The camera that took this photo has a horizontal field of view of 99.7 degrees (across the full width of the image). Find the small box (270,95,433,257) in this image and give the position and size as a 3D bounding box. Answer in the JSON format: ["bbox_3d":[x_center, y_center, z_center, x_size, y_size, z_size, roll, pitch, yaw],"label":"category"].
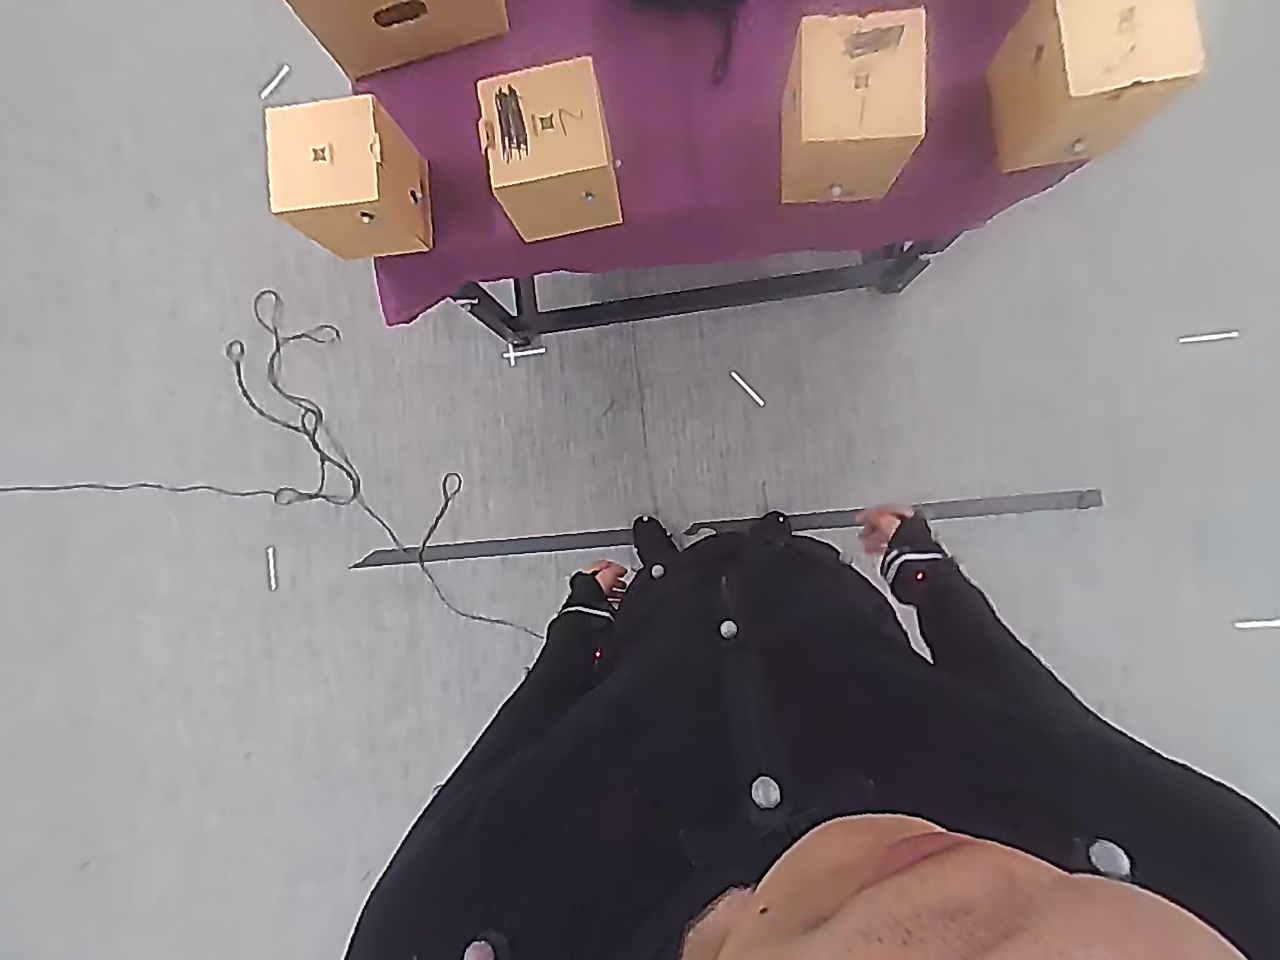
[{"bbox_3d":[-0.467,-0.487,0.893,0.179,0.176,0.168,-5,88,4],"label":"small box"}]

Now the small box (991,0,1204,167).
[{"bbox_3d":[0.639,-0.595,0.780,0.168,0.176,0.179,-7,88,7],"label":"small box"}]

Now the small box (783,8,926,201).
[{"bbox_3d":[0.311,-0.551,0.815,0.168,0.176,0.179,0,90,6],"label":"small box"}]
